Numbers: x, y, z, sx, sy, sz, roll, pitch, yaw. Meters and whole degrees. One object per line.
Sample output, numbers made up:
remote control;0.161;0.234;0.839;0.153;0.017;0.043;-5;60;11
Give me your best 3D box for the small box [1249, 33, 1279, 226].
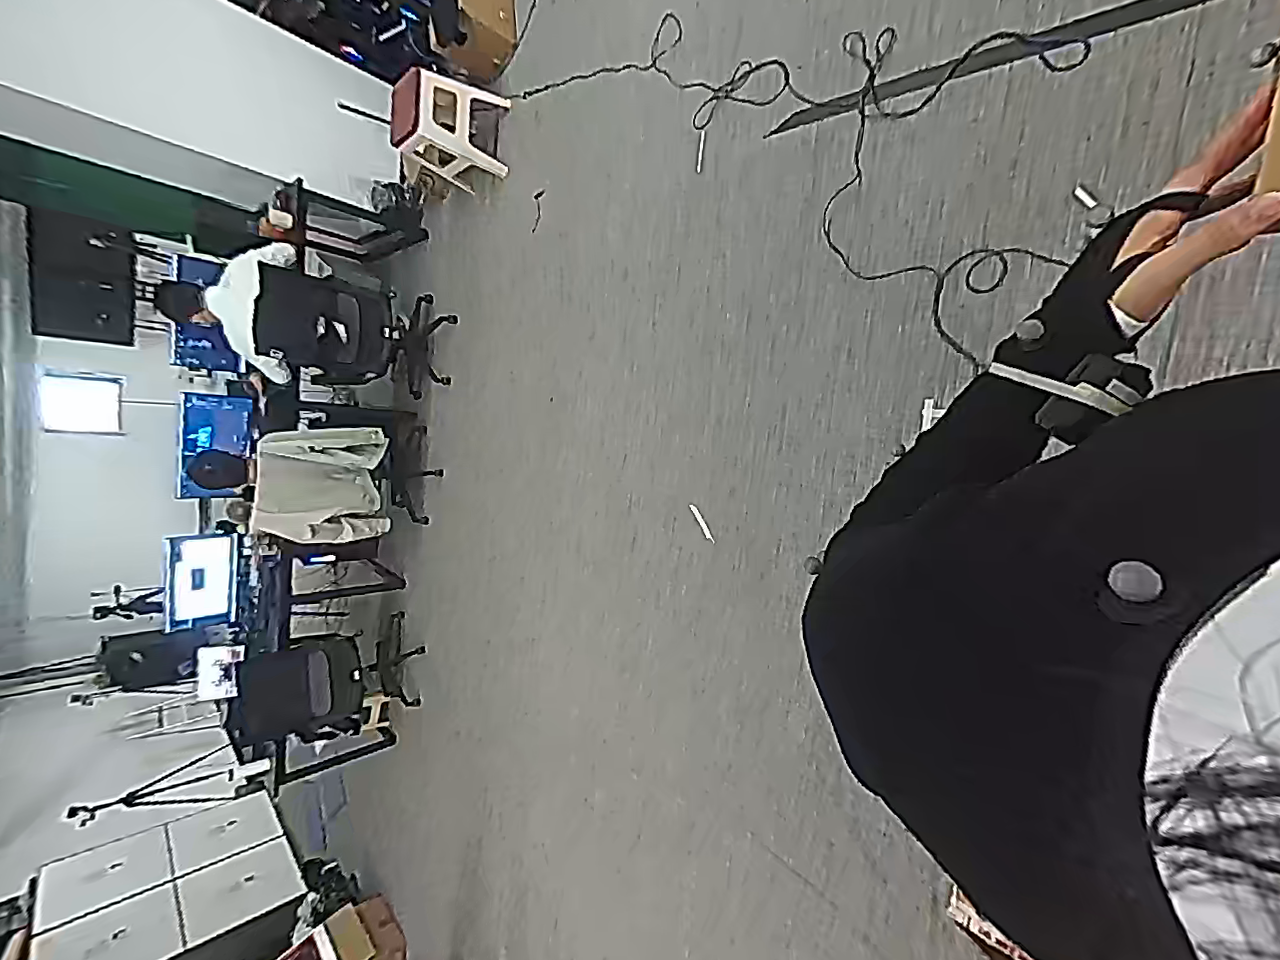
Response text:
small box;0.455;-0.248;0.281;0.168;0.176;0.179;12;110;46
